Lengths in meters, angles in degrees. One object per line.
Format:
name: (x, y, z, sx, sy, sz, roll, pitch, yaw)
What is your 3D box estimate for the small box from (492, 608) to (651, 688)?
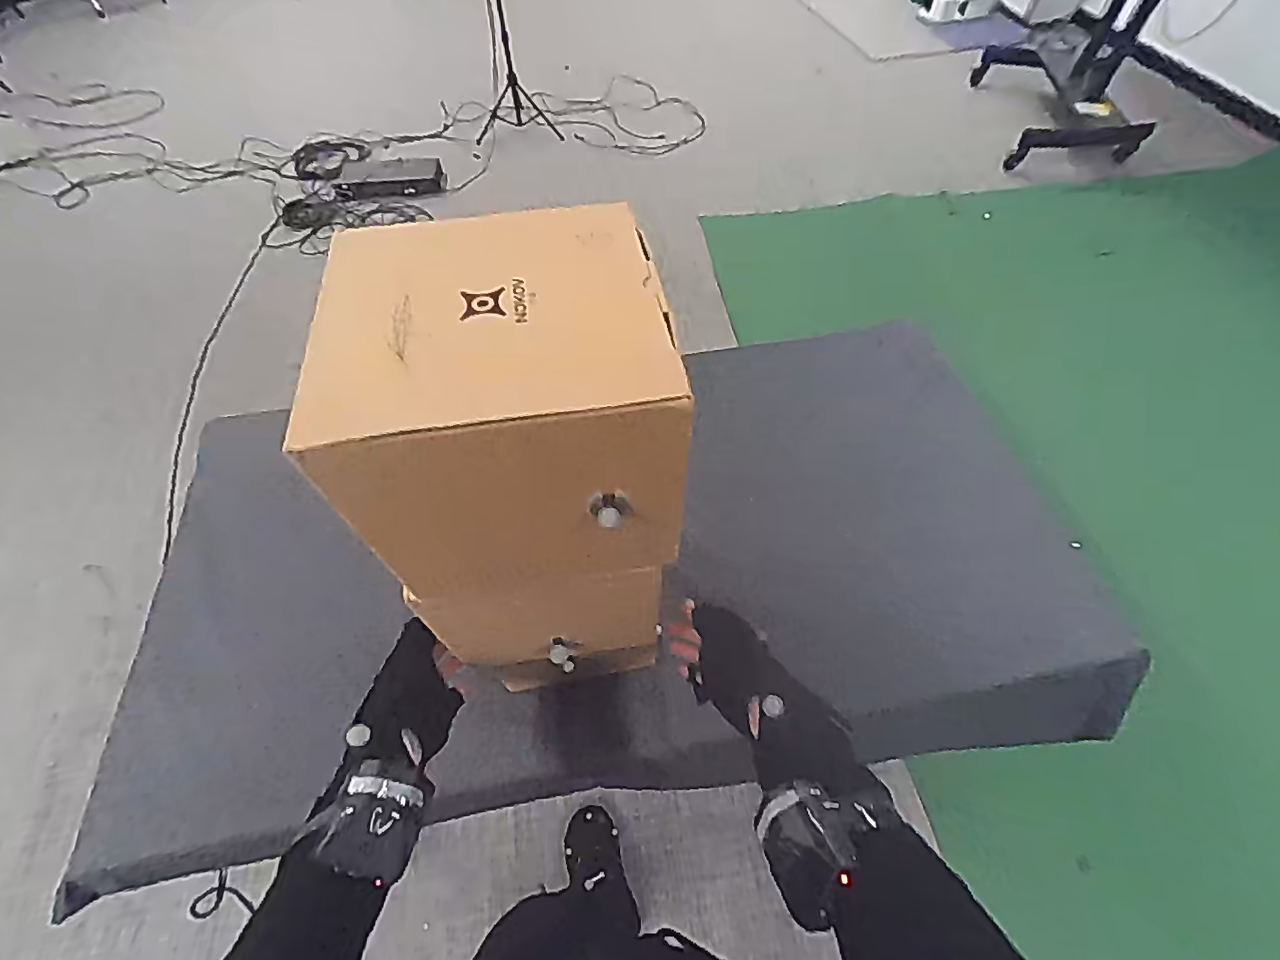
small box: (-0.087, 0.127, 0.626, 0.179, 0.176, 0.168, -9, 56, -5)

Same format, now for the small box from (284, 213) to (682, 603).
small box: (-0.079, -0.039, 0.346, 0.179, 0.176, 0.168, -10, 55, -5)

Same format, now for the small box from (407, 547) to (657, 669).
small box: (-0.087, 0.055, 0.482, 0.179, 0.176, 0.168, -10, 58, -5)
